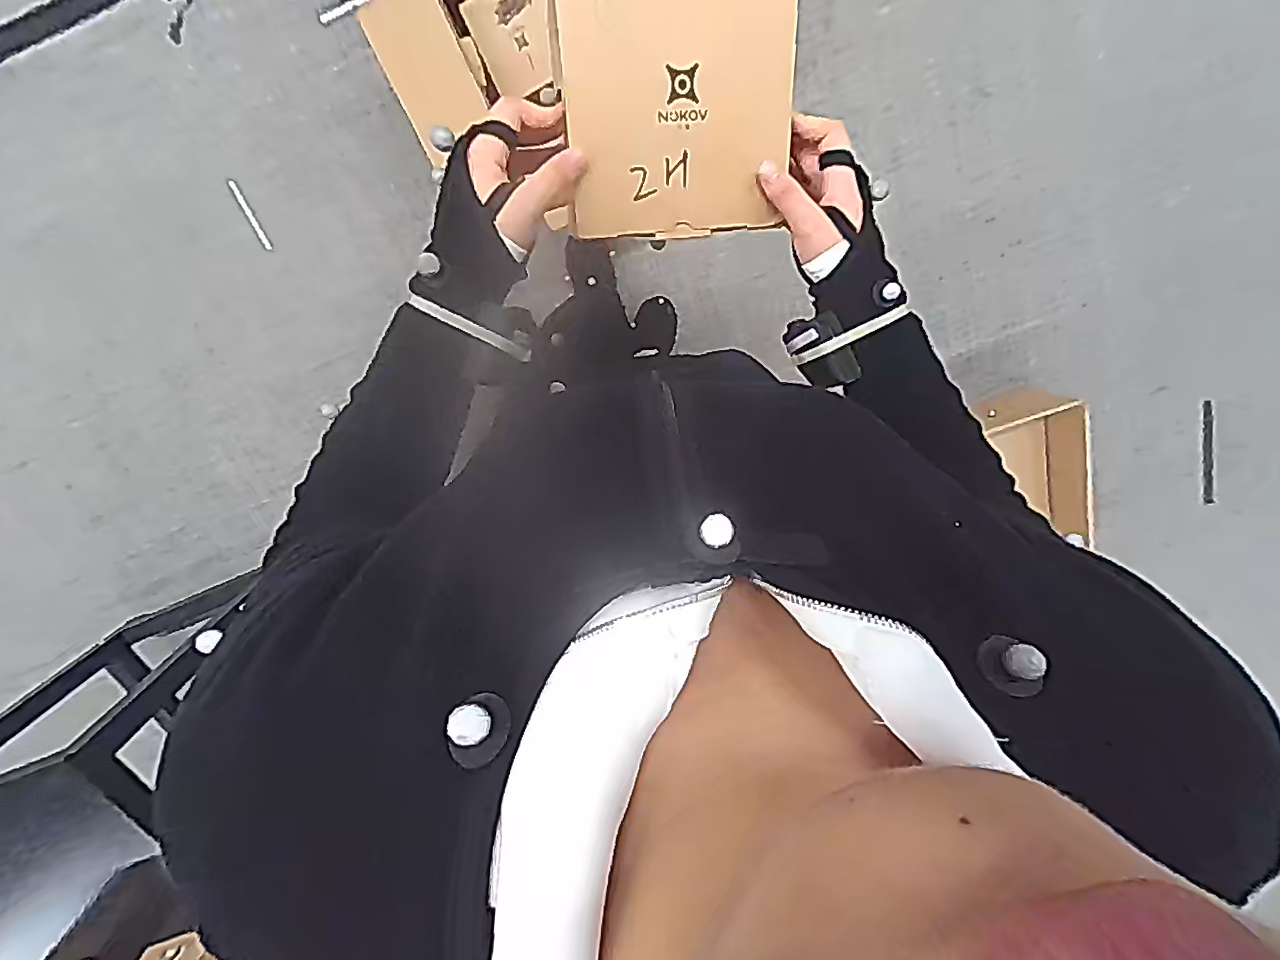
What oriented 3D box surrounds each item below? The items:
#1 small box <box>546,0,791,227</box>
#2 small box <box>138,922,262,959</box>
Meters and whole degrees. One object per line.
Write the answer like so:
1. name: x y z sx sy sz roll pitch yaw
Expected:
1. small box: 0.013 -0.311 0.449 0.168 0.176 0.179 -6 116 -5
2. small box: -0.823 0.951 0.970 0.168 0.176 0.179 -22 110 4
